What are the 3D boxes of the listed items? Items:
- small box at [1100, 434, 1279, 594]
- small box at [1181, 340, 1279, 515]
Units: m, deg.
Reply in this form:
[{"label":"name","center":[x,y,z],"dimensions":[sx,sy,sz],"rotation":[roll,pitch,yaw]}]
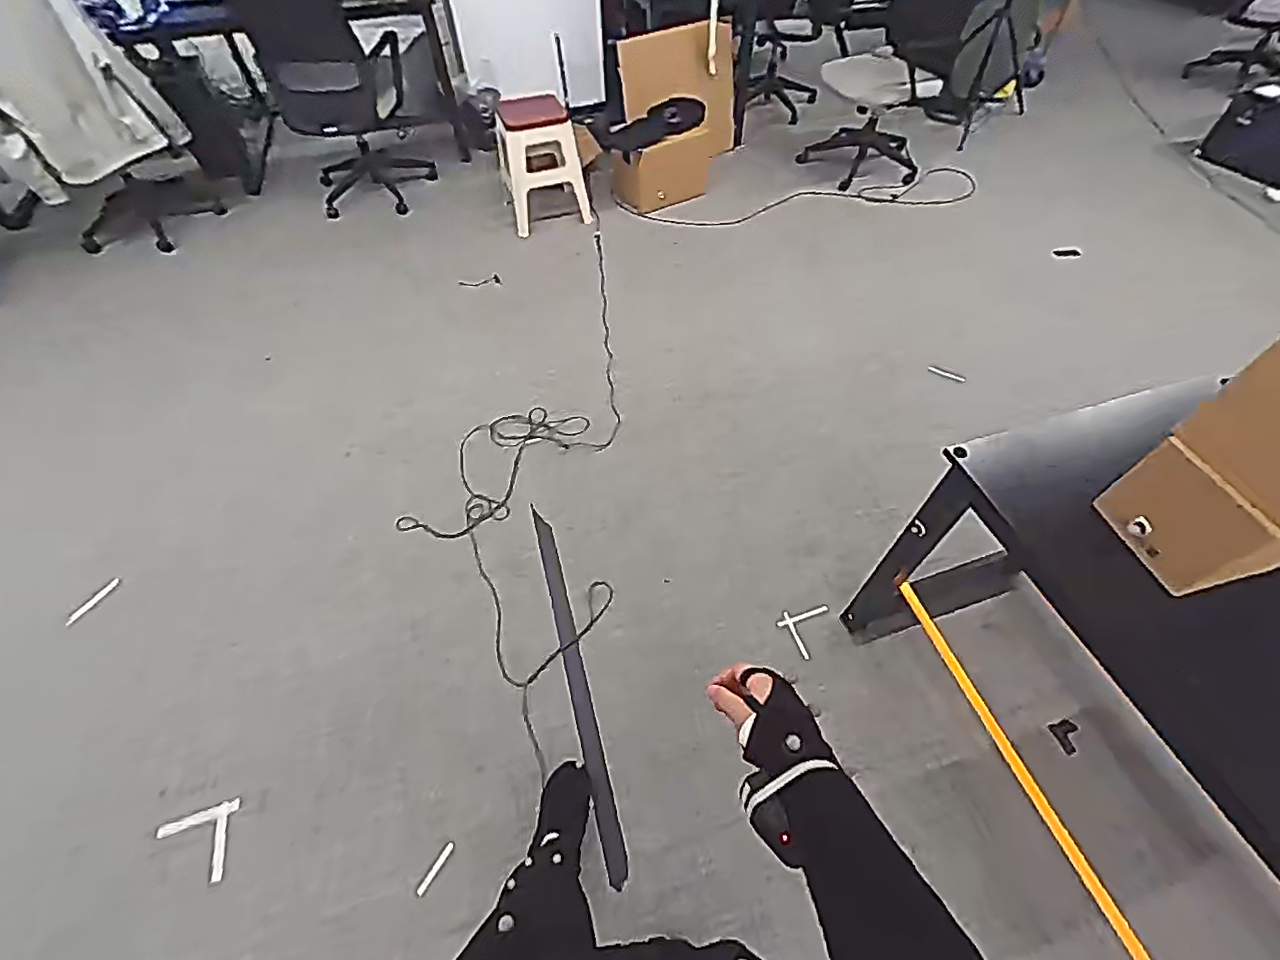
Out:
[{"label":"small box","center":[0.815,0.036,0.752],"dimensions":[0.179,0.176,0.168],"rotation":[-14,54,-7]},{"label":"small box","center":[0.816,-0.067,0.623],"dimensions":[0.168,0.176,0.179],"rotation":[-13,54,-9]}]
